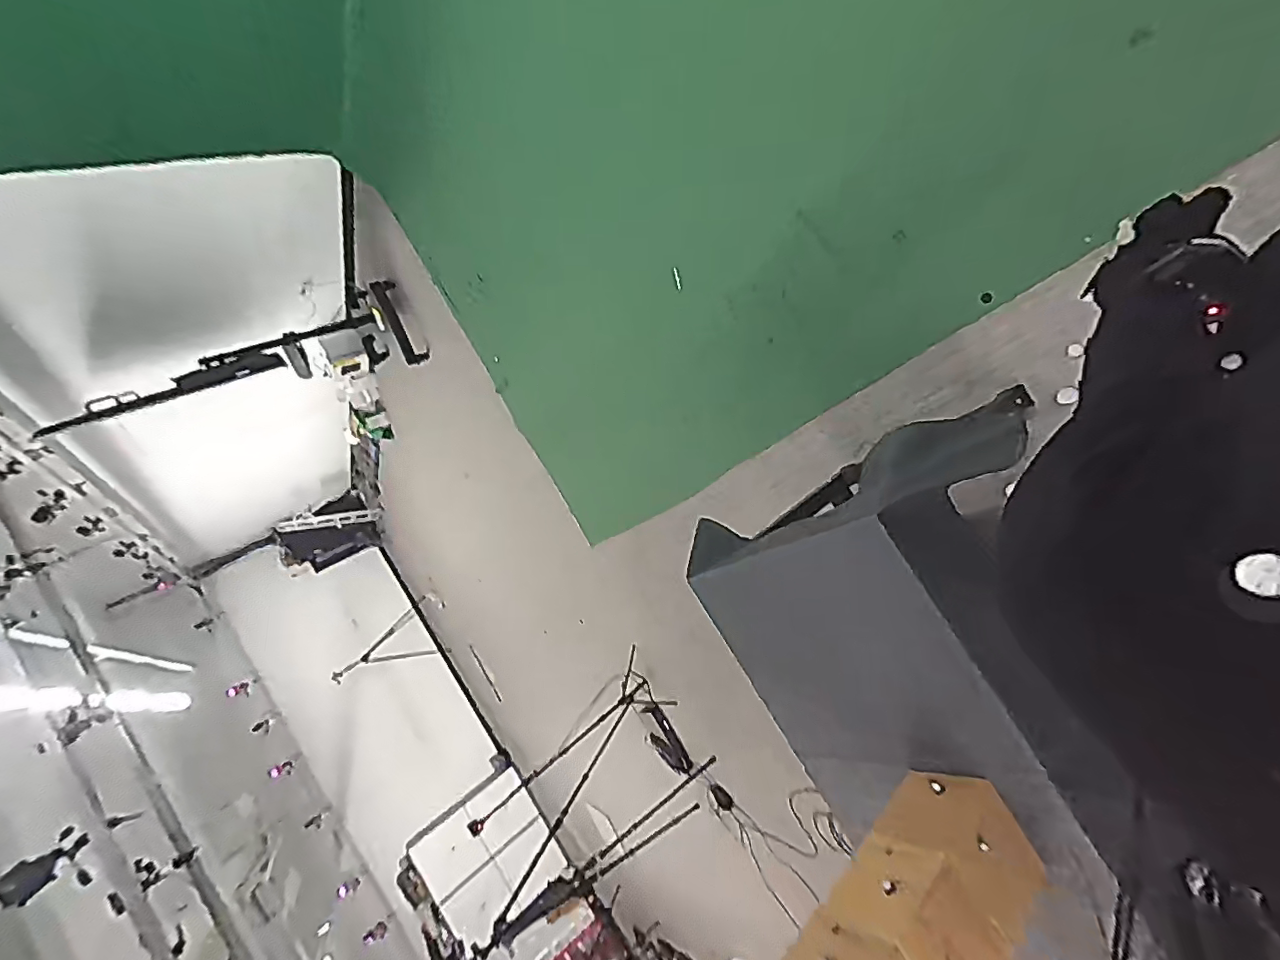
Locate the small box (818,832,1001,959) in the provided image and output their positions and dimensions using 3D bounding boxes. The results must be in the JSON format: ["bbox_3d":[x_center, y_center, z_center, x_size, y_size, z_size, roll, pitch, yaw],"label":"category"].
[{"bbox_3d":[0.433,0.715,0.875,0.179,0.176,0.168,58,147,4],"label":"small box"}]

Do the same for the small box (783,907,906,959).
[{"bbox_3d":[0.312,0.786,0.790,0.179,0.176,0.168,59,147,3],"label":"small box"}]
